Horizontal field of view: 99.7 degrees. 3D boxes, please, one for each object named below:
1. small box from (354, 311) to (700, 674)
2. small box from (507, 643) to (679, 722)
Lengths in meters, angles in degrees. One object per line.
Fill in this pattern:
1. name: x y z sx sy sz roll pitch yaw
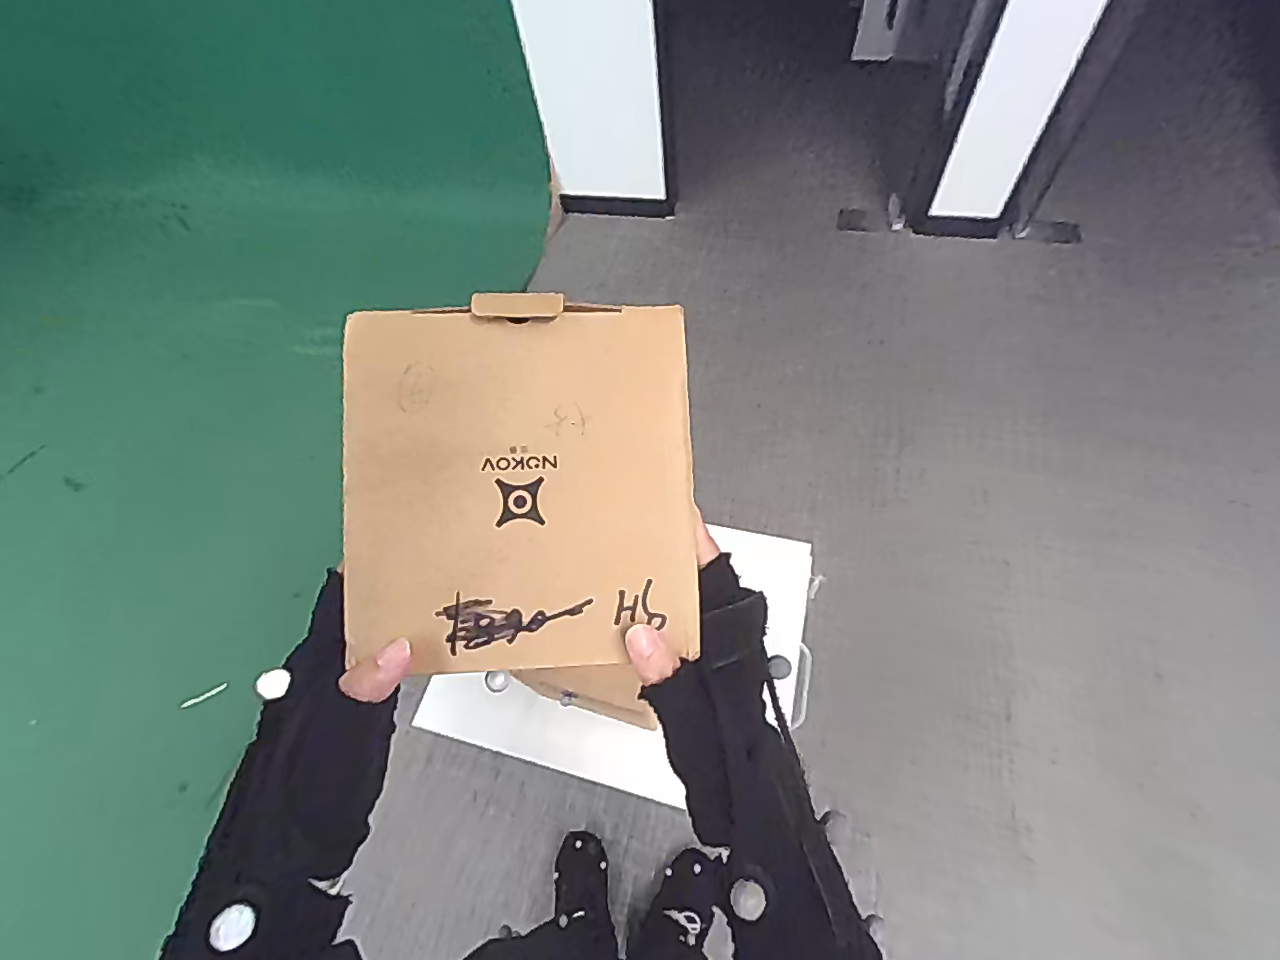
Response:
1. small box: -0.063 0.010 0.351 0.168 0.176 0.179 -5 85 -4
2. small box: -0.046 0.210 0.722 0.179 0.176 0.168 12 62 13
